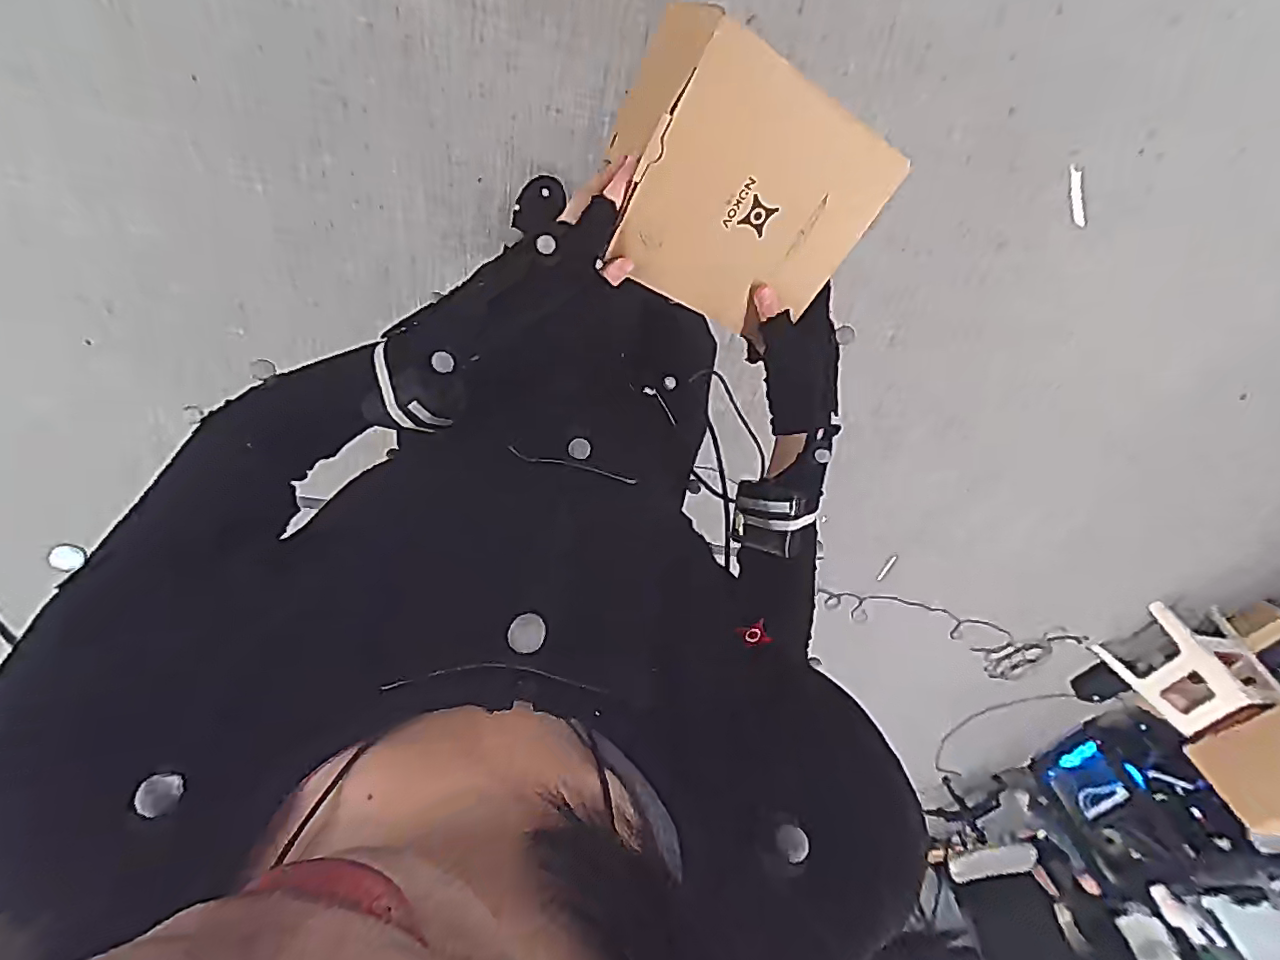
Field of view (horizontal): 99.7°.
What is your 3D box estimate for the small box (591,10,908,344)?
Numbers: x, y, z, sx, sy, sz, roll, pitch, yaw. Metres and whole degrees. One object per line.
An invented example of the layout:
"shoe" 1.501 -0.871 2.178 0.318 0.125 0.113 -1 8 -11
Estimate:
"small box" 0.071 -0.251 0.457 0.179 0.176 0.168 16 127 -26
